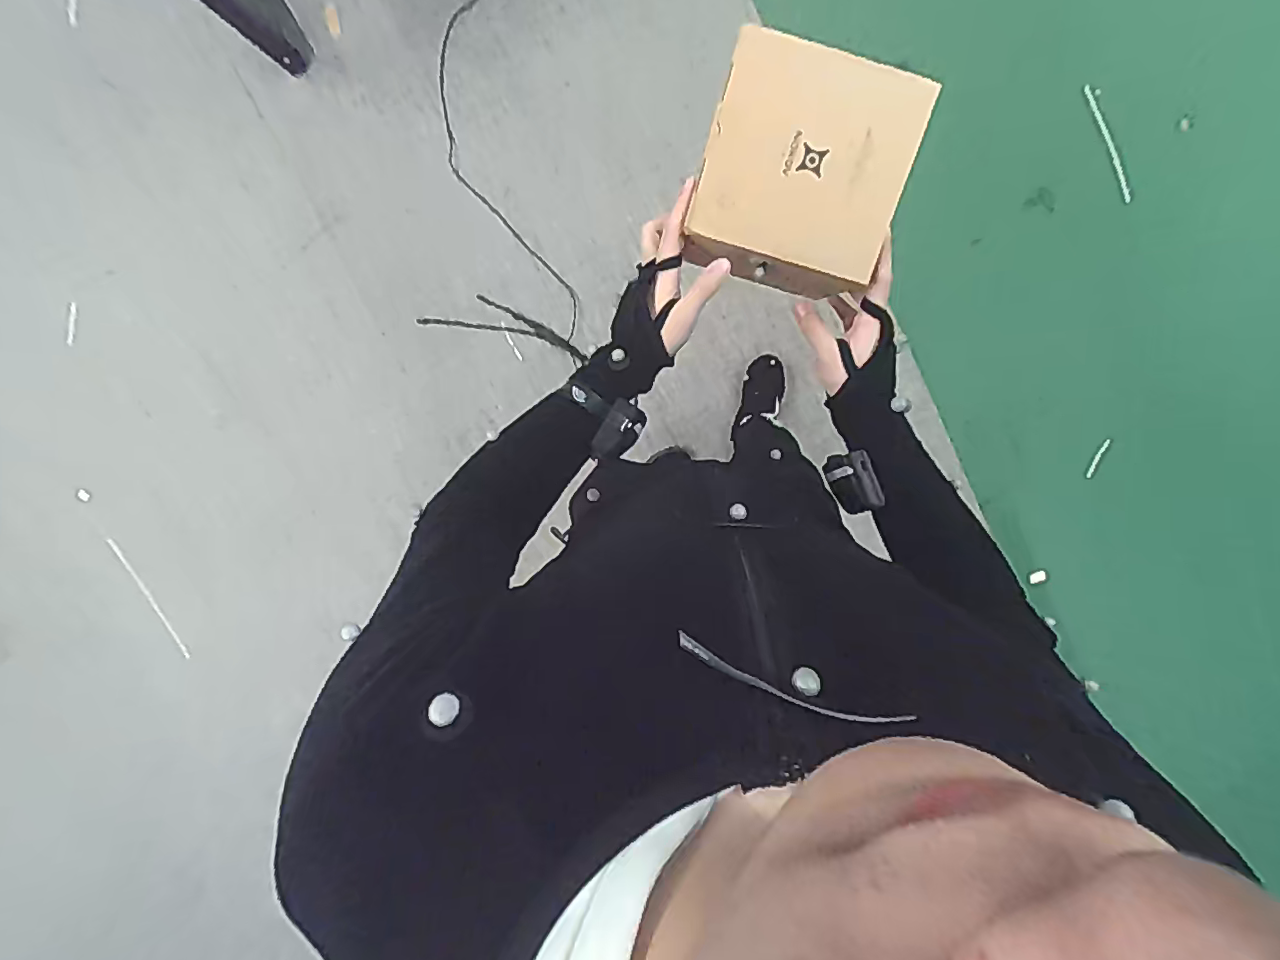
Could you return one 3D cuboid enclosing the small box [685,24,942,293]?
[{"bbox_3d":[0.150,-0.296,0.542,0.179,0.176,0.168,17,104,-1],"label":"small box"}]
